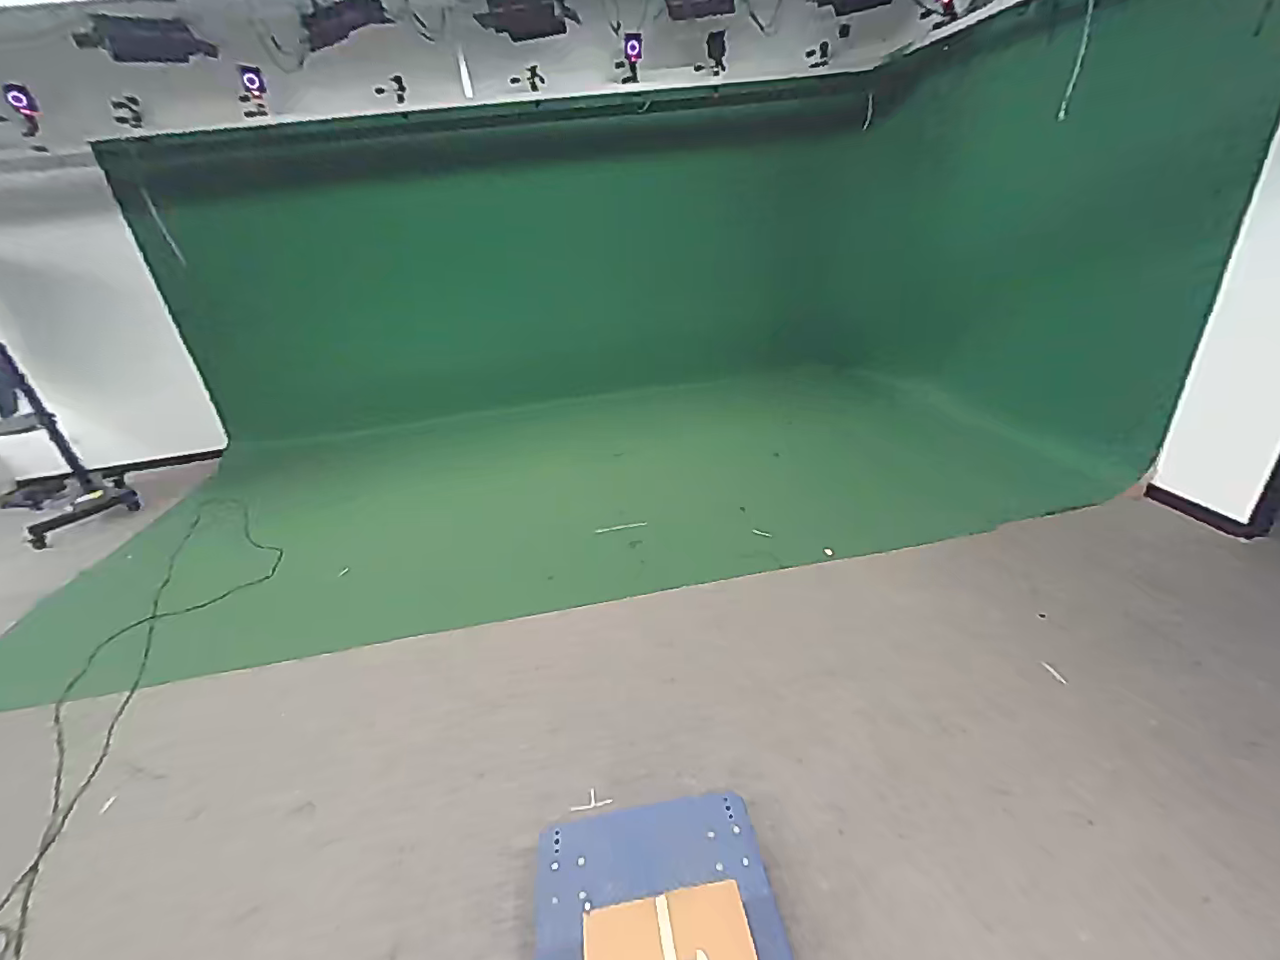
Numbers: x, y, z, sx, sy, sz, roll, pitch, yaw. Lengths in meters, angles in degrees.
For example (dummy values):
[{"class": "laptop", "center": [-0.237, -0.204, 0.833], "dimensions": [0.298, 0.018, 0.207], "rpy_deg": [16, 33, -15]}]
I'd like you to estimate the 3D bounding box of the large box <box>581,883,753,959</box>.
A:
[{"class": "large box", "center": [0.079, 1.055, 0.969], "dimensions": [0.320, 0.320, 0.408], "rpy_deg": [-8, 26, -5]}]
